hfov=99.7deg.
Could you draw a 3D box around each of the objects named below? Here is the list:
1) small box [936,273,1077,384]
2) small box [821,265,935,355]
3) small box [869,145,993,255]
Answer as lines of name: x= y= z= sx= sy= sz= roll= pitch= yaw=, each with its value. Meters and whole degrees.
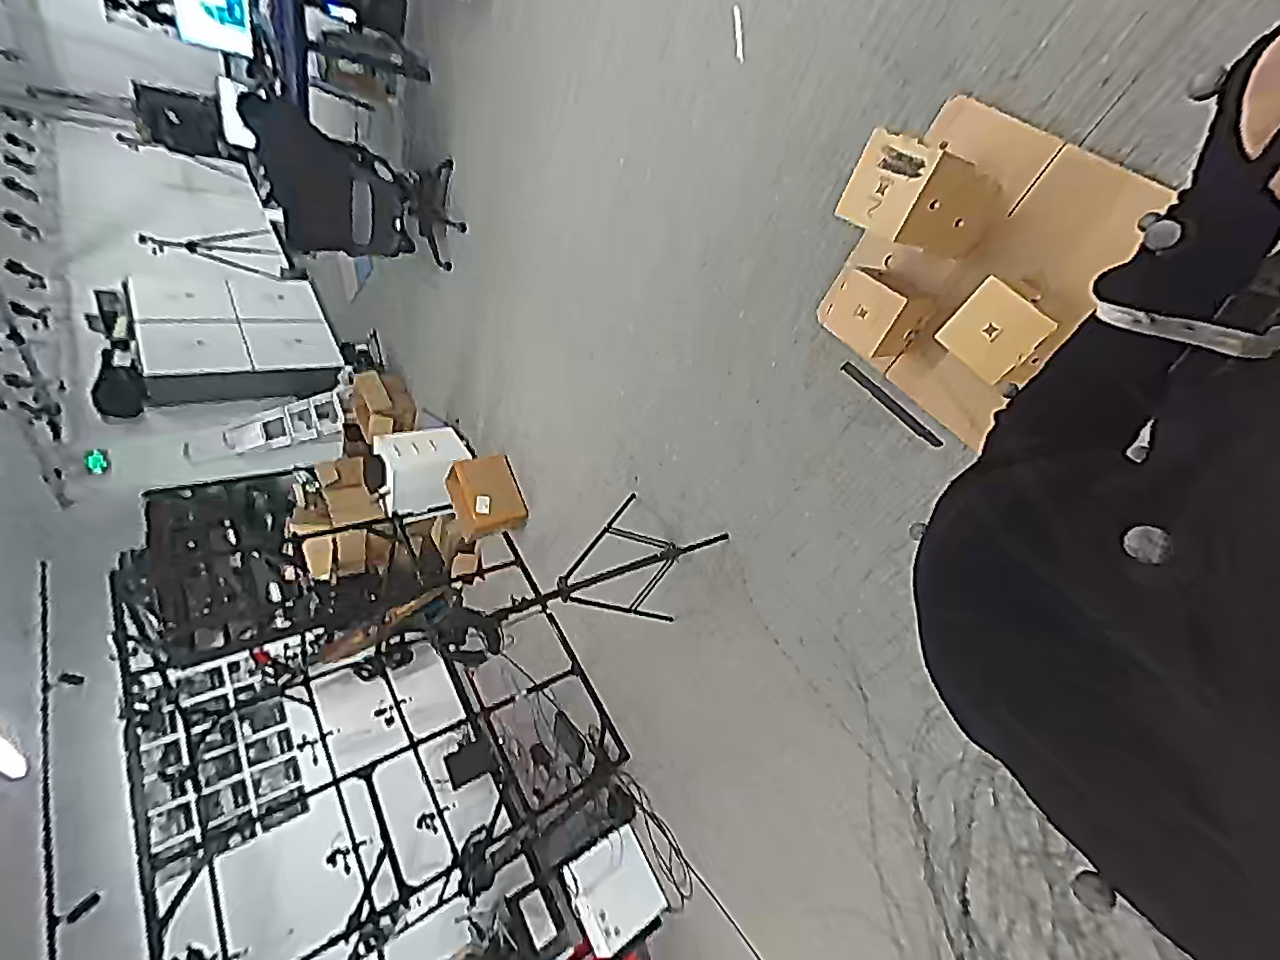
small box: x=0.812 y=-0.334 z=1.199 sx=0.179 sy=0.176 sz=0.168 roll=55 pitch=137 yaw=24
small box: x=0.620 y=-0.443 z=1.411 sx=0.179 sy=0.176 sz=0.168 roll=48 pitch=136 yaw=31
small box: x=0.685 y=-0.648 z=1.265 sx=0.168 sy=0.176 sz=0.179 roll=50 pitch=135 yaw=30
